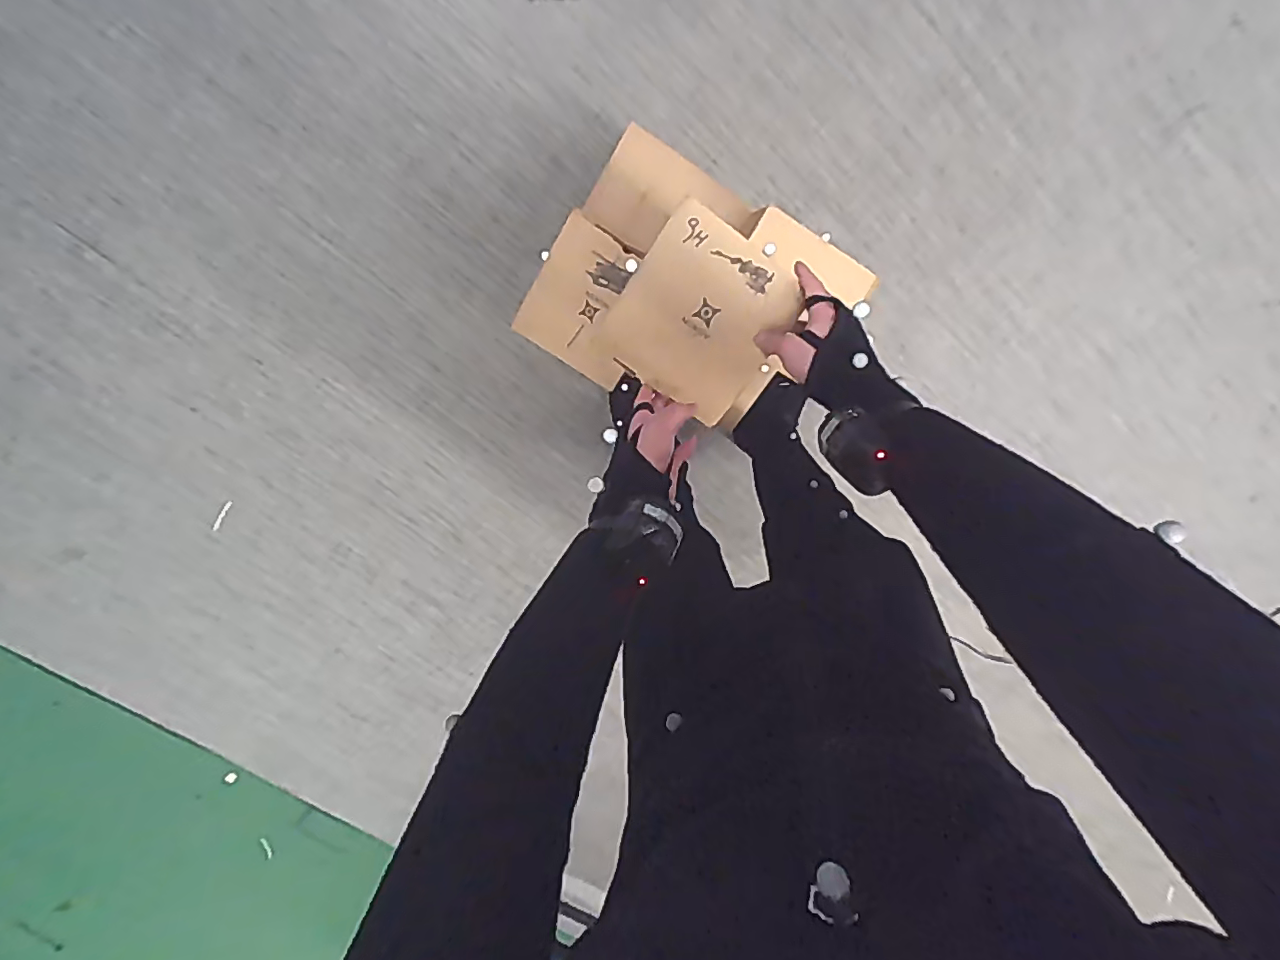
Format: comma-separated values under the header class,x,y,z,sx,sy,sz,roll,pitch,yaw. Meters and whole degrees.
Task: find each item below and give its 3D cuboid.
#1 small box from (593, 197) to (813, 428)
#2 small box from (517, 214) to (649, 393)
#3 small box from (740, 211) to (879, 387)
class,x,y,z,sx,sy,sz,roll,pitch,yaw
small box,0.067,-0.194,0.635,0.168,0.176,0.179,34,109,-11
small box,-0.051,-0.262,0.793,0.168,0.176,0.179,32,113,-10
small box,0.199,-0.260,0.782,0.179,0.176,0.168,28,109,-8
